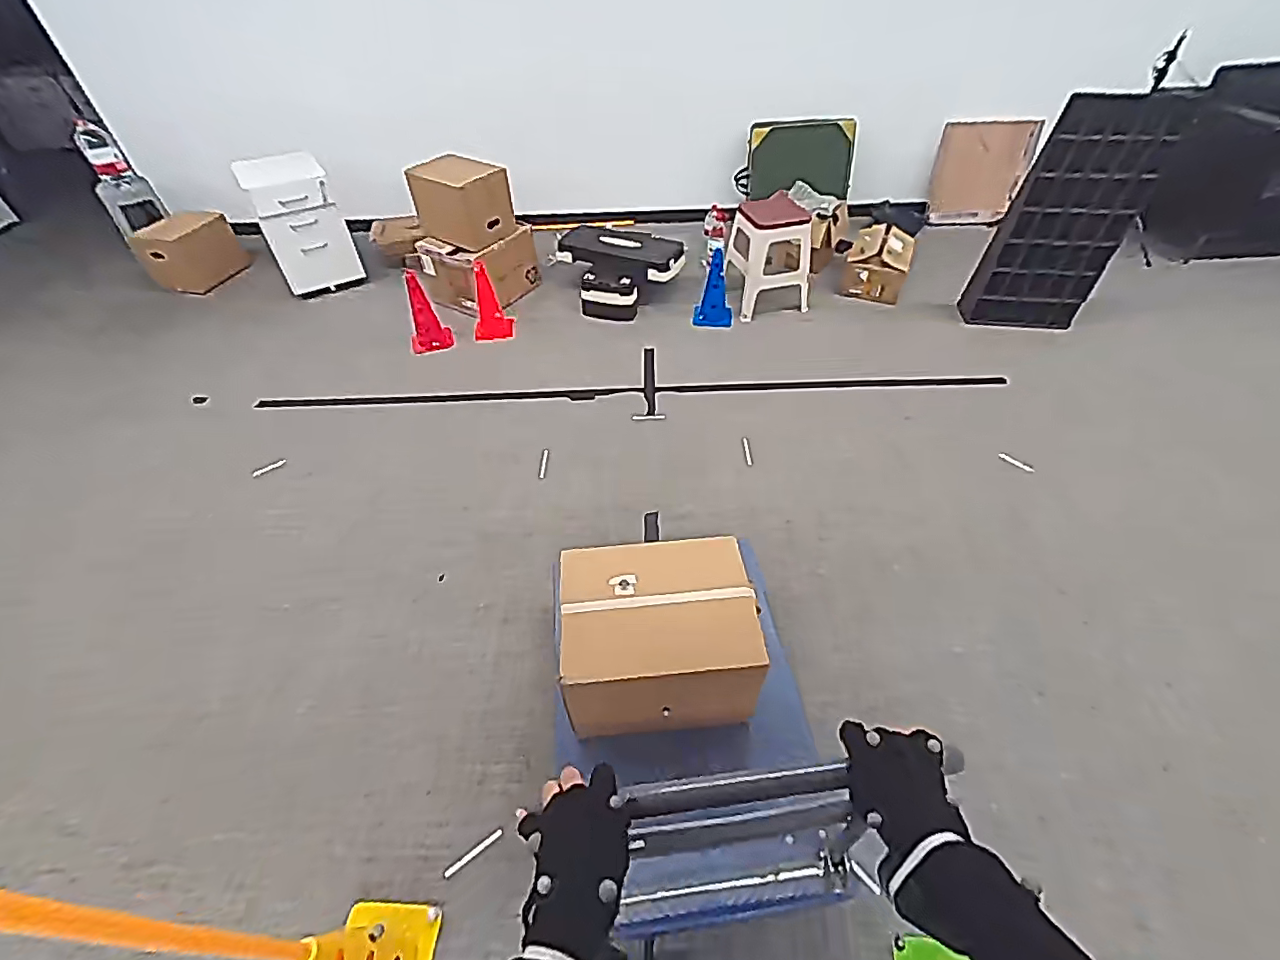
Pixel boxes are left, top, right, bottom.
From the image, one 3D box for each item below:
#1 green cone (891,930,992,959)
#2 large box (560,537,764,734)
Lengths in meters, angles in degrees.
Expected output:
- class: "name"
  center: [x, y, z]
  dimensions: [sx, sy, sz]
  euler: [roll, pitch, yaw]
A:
- class: "green cone"
  center: [0.606, 0.890, 0.924]
  dimensions: [0.202, 0.368, 0.200]
  euler: [2, 46, 3]
- class: "large box"
  center: [0.038, 0.363, 1.252]
  dimensions: [0.408, 0.320, 0.320]
  euler: [-5, 47, -2]
